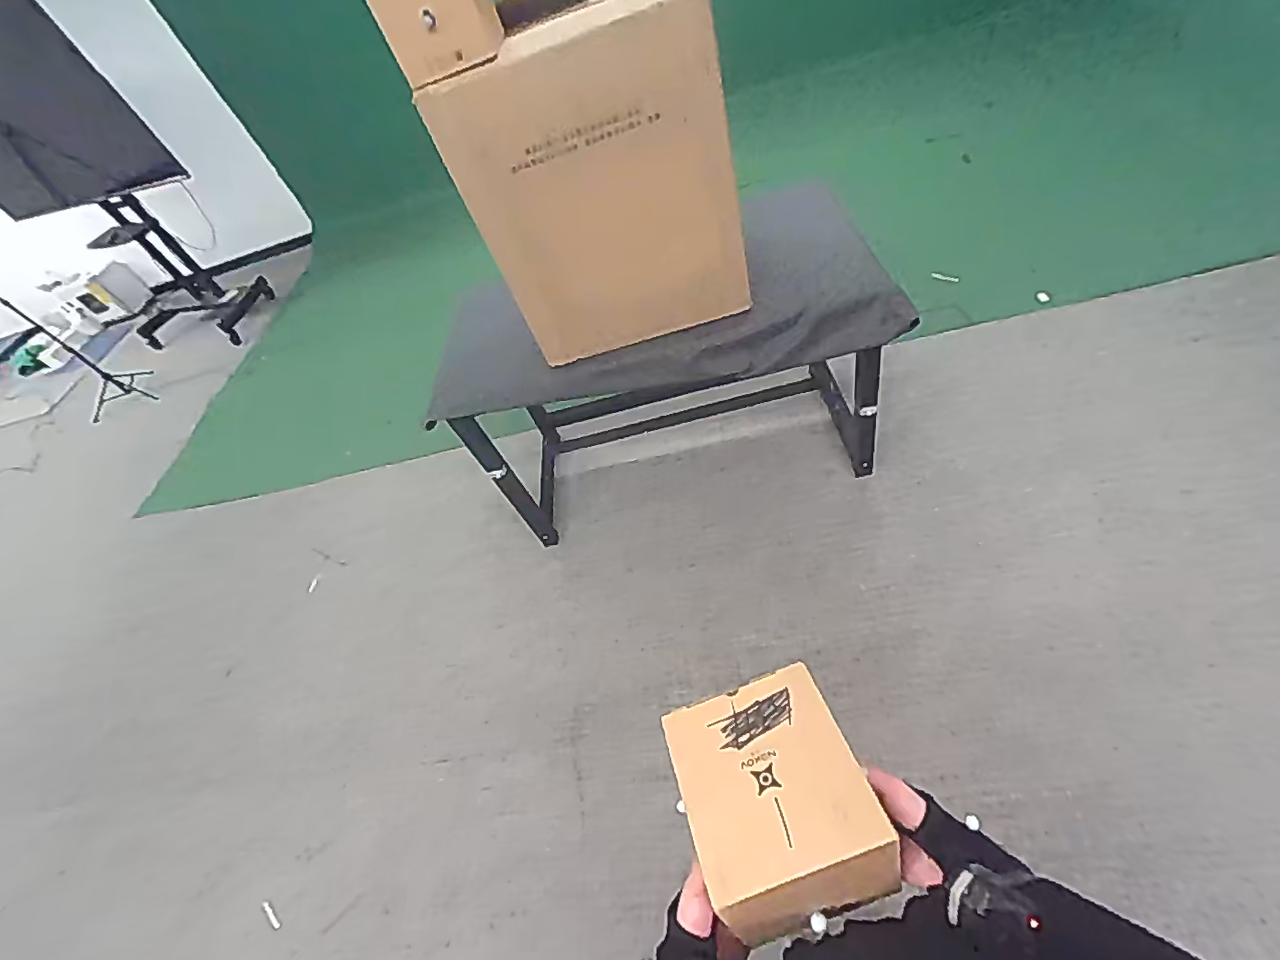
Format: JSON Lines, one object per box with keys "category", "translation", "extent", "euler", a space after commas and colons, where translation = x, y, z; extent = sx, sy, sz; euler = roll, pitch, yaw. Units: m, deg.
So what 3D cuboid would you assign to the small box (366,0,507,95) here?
{"category": "small box", "translation": [-0.348, -0.812, 0.948], "extent": [0.168, 0.176, 0.179], "euler": [-14, 49, 9]}
